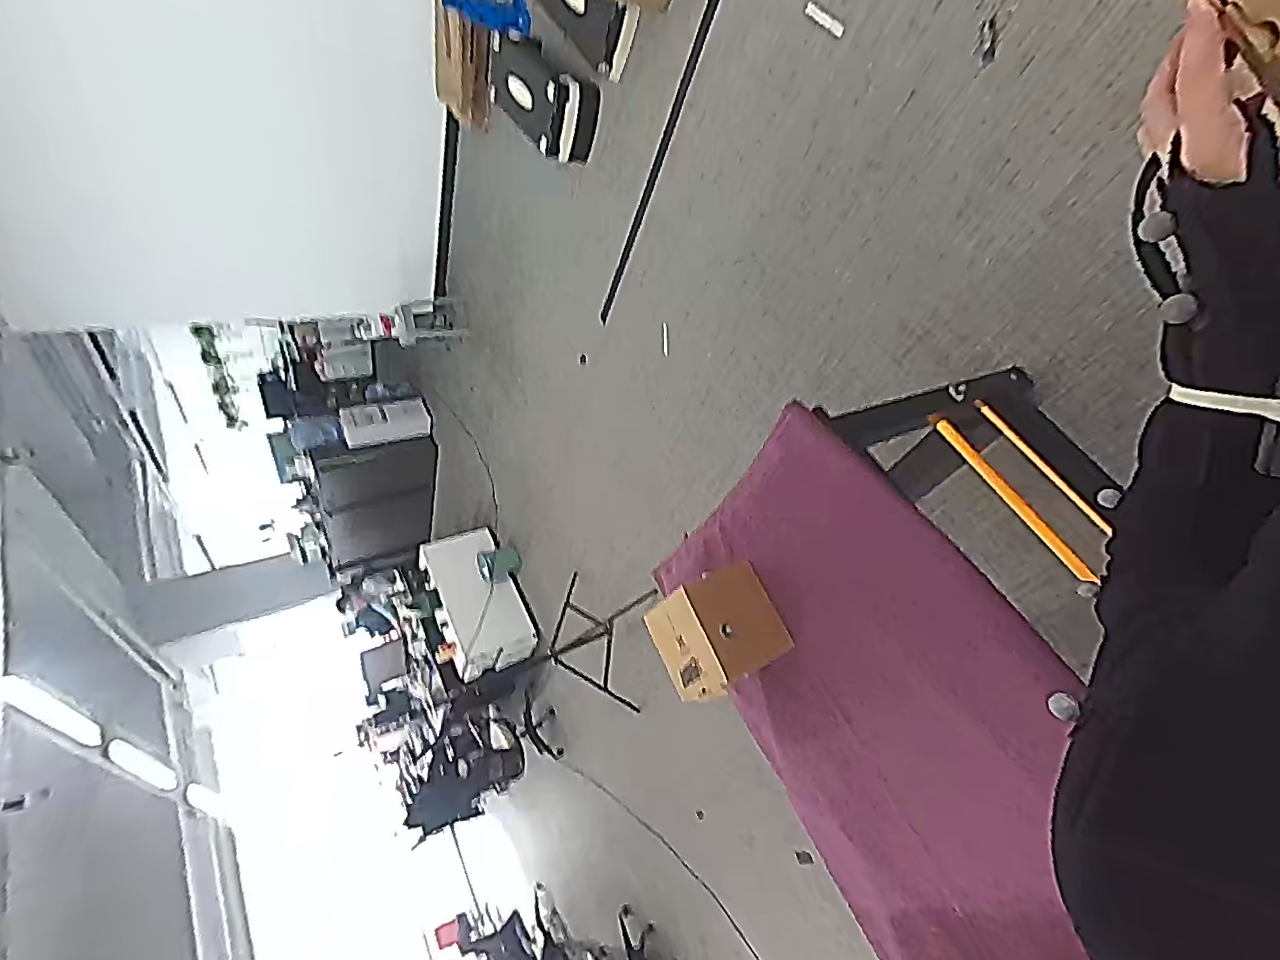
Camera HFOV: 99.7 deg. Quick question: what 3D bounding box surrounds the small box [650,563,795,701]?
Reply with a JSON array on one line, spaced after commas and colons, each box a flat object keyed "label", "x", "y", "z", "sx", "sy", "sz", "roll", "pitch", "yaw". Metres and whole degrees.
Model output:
[{"label": "small box", "x": 0.153, "y": 0.280, "z": 1.008, "sx": 0.179, "sy": 0.176, "sz": 0.168, "roll": 63, "pitch": 144, "yaw": 20}]
